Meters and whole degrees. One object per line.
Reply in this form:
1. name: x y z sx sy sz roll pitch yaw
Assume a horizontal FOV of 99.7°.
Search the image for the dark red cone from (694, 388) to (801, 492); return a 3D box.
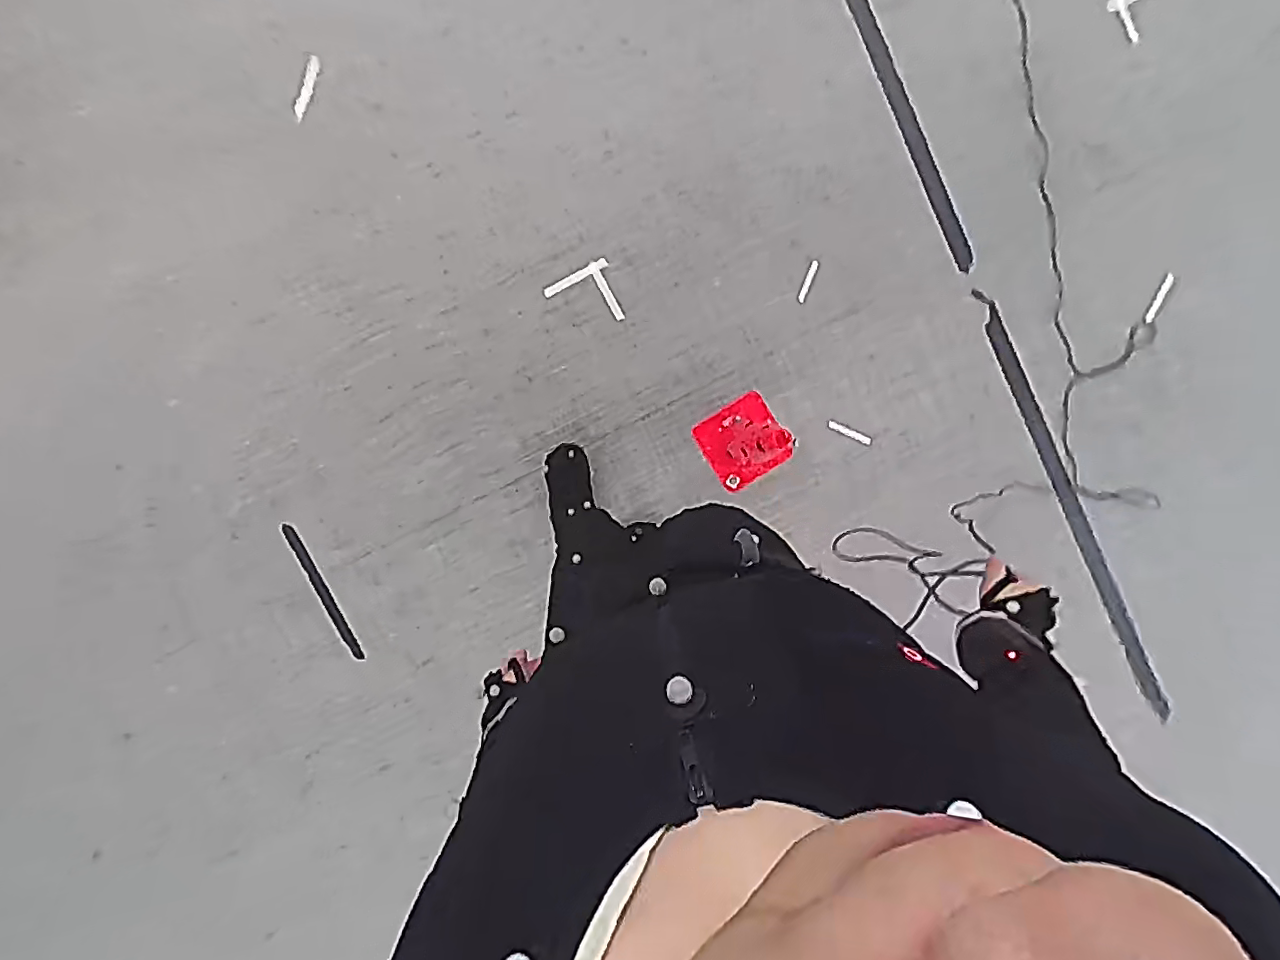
1. dark red cone: 0.263 -0.092 1.164 0.201 0.394 0.202 -34 93 -1
